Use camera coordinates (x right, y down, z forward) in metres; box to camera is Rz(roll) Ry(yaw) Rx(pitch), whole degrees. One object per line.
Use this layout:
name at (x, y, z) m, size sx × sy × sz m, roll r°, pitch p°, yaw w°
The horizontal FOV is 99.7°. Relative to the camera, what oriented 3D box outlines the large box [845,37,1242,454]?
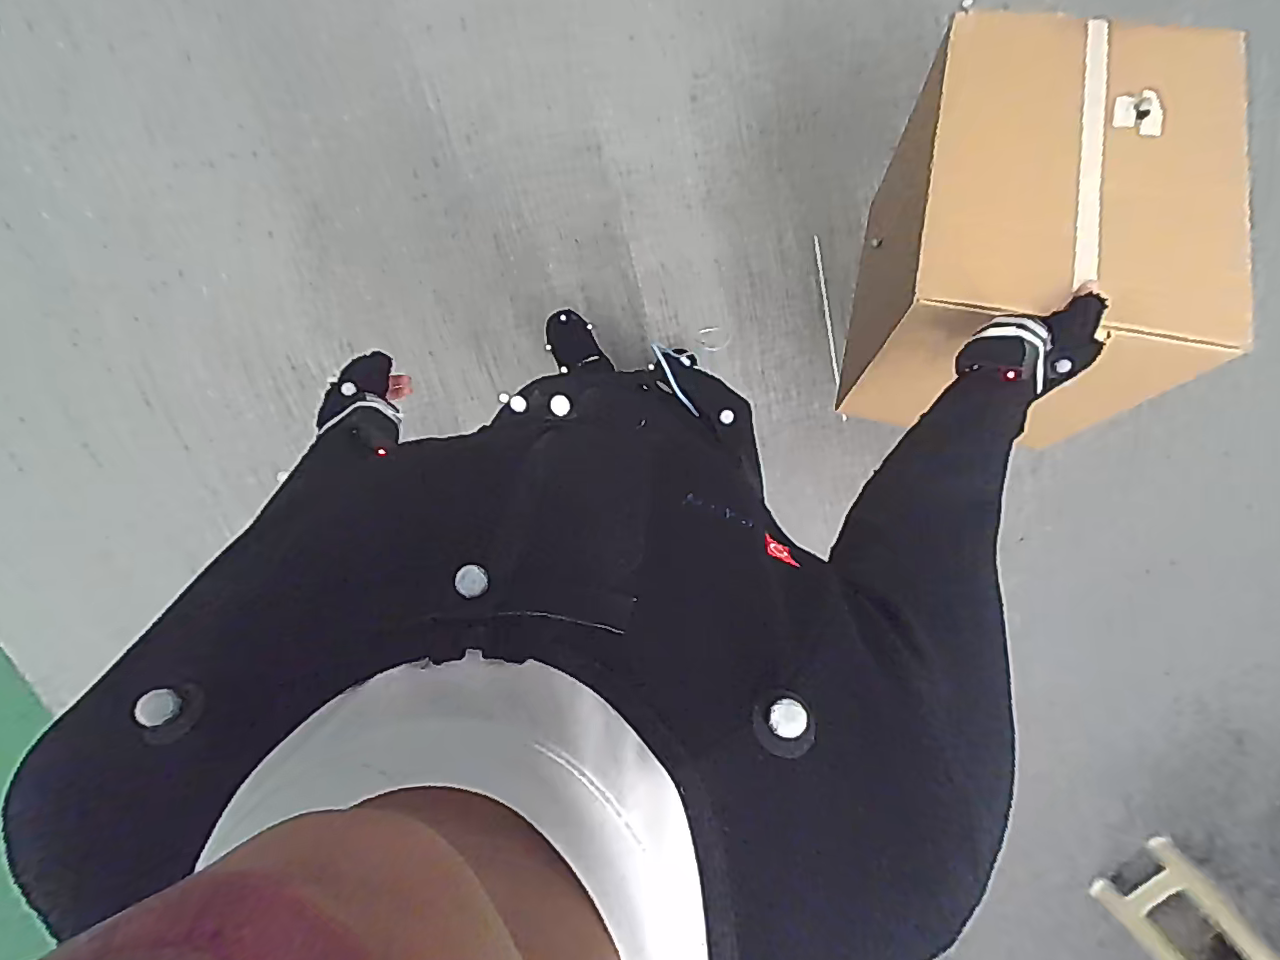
large box at (0.500, -0.289, 0.741) m, size 0.320 × 0.320 × 0.408 m, roll 13°, pitch 76°, yaw 7°
